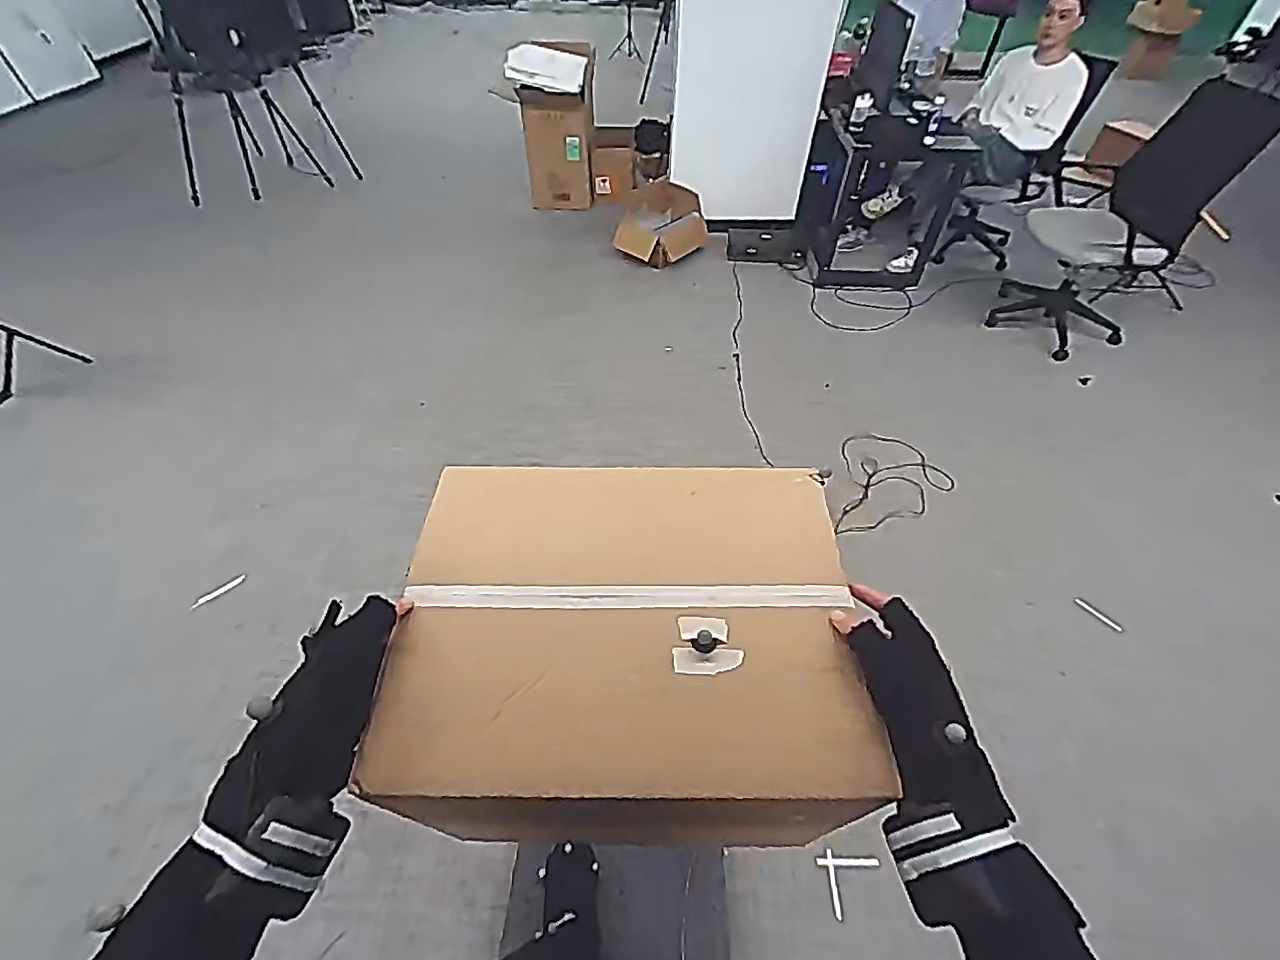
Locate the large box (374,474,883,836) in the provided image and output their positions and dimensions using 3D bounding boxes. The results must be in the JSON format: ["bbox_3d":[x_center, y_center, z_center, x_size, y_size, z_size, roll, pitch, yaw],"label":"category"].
[{"bbox_3d":[-0.011,0.206,0.623,0.408,0.320,0.320,1,51,0],"label":"large box"}]
